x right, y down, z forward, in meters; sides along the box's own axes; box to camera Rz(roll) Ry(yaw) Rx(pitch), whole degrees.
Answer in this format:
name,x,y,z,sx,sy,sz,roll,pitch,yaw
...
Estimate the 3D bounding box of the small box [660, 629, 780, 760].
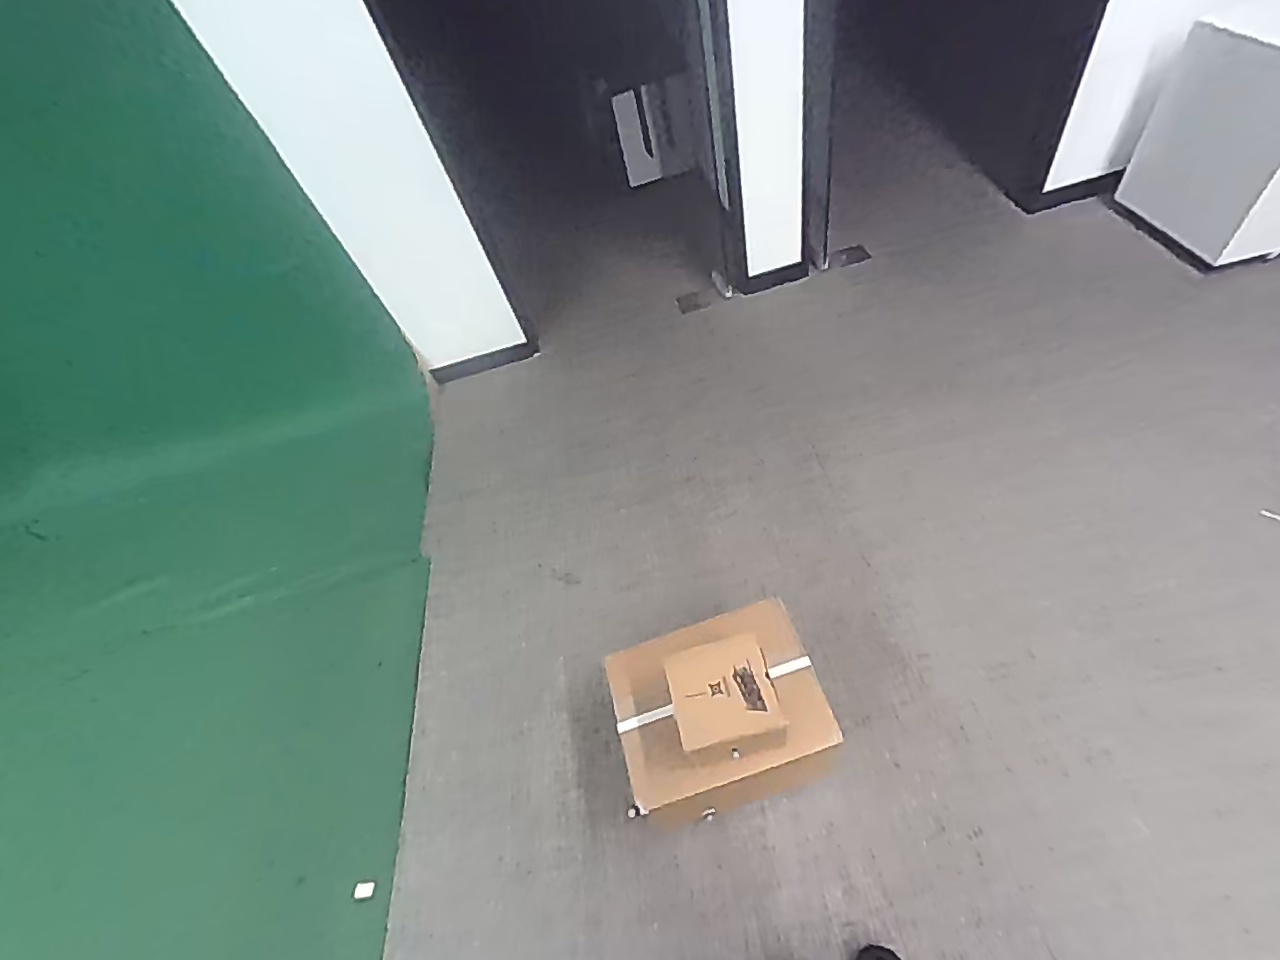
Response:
name,x,y,z,sx,sy,sz,roll,pitch,yaw
small box,0.149,0.401,1.001,0.179,0.176,0.168,-16,52,4
